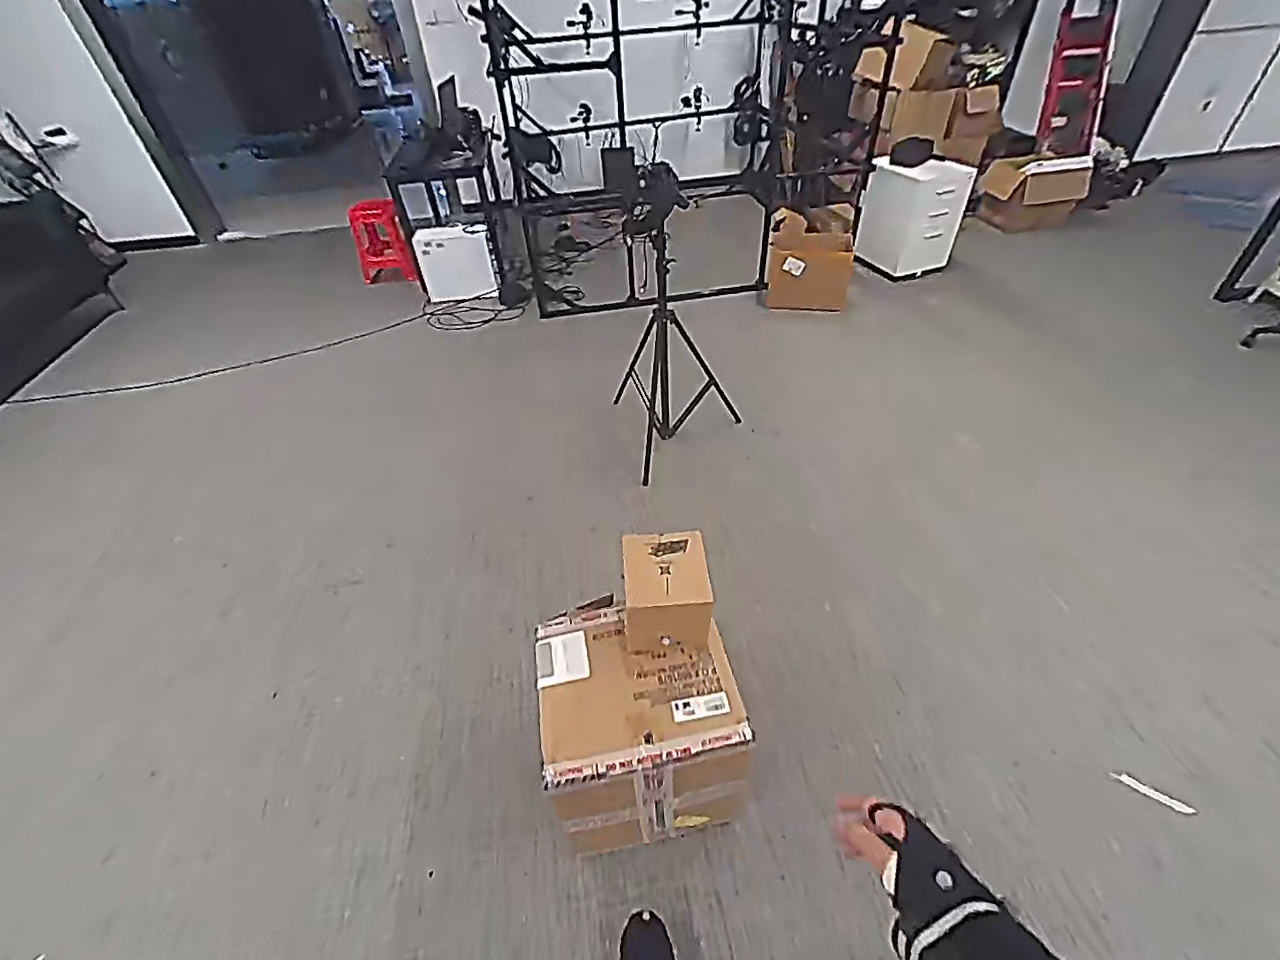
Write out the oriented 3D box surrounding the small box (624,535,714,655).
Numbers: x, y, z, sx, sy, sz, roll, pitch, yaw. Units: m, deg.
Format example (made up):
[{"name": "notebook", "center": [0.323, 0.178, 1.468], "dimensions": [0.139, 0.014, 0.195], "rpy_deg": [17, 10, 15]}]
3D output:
[{"name": "small box", "center": [0.052, 0.235, 1.107], "dimensions": [0.168, 0.176, 0.179], "rpy_deg": [-3, 45, -2]}]
